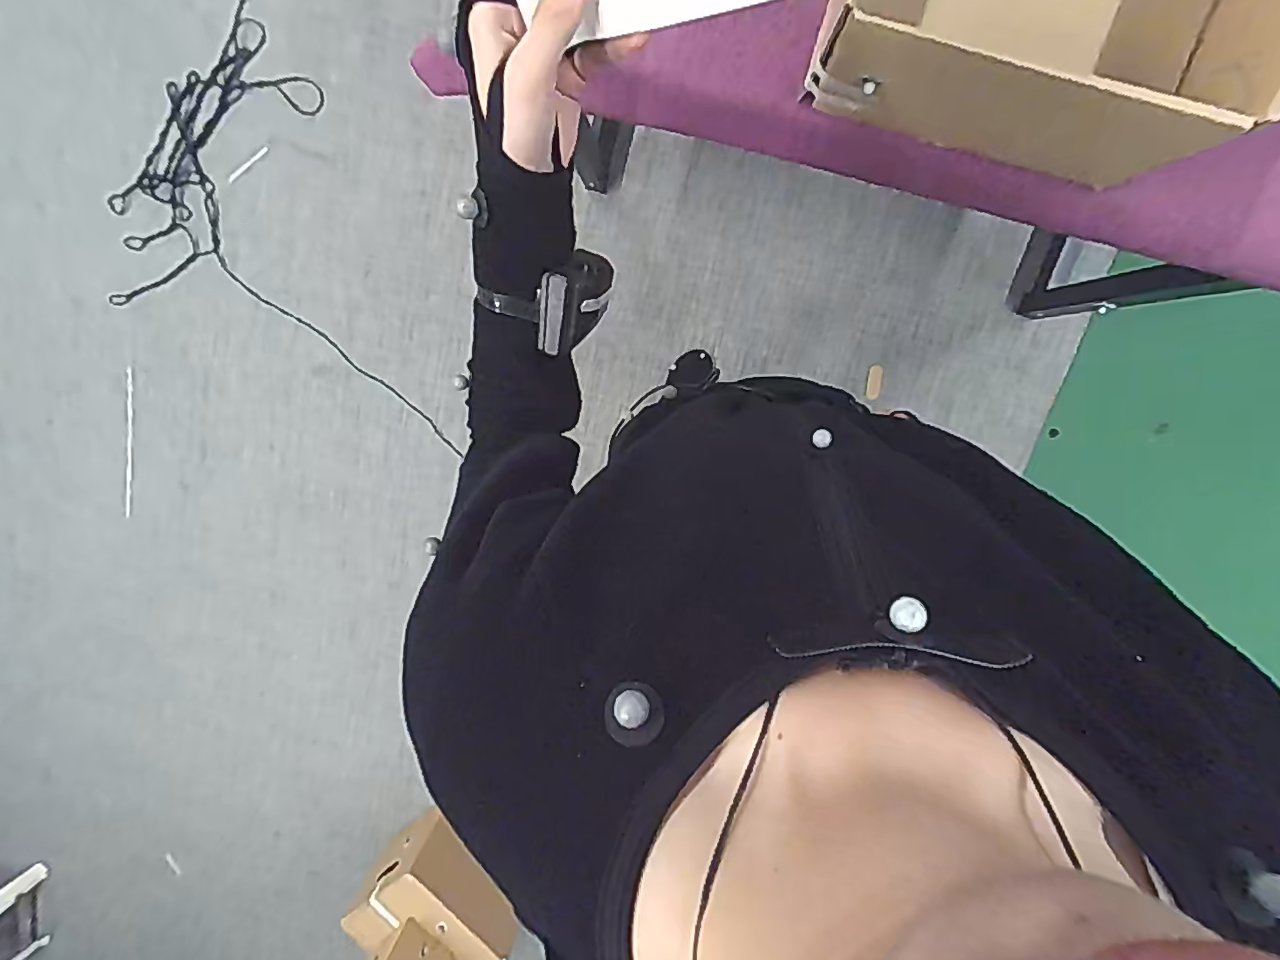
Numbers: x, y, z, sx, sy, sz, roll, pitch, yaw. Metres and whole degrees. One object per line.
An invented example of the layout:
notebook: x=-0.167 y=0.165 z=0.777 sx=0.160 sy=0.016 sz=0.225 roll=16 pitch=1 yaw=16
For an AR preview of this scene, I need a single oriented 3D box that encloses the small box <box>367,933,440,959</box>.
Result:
small box: x=-0.664 y=1.368 z=1.446 sx=0.179 sy=0.176 sz=0.168 roll=45 pitch=103 yaw=-4
